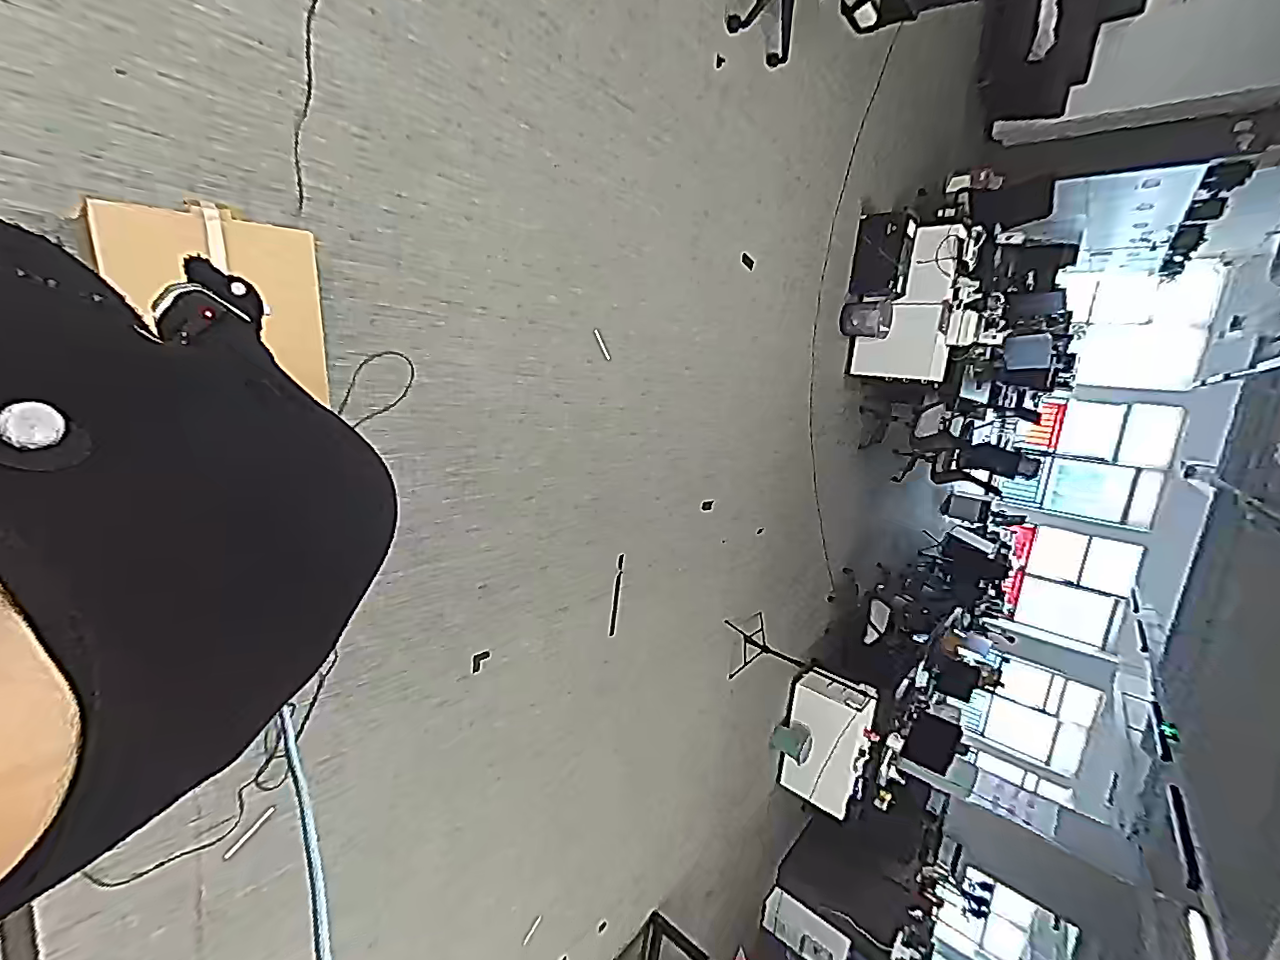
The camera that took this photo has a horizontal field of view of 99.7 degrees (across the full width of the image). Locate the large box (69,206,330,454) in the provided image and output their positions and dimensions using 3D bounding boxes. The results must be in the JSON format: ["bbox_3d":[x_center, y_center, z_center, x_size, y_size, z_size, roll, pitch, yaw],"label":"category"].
[{"bbox_3d":[-0.868,-0.295,1.085,0.320,0.320,0.408,-14,114,-46],"label":"large box"}]
